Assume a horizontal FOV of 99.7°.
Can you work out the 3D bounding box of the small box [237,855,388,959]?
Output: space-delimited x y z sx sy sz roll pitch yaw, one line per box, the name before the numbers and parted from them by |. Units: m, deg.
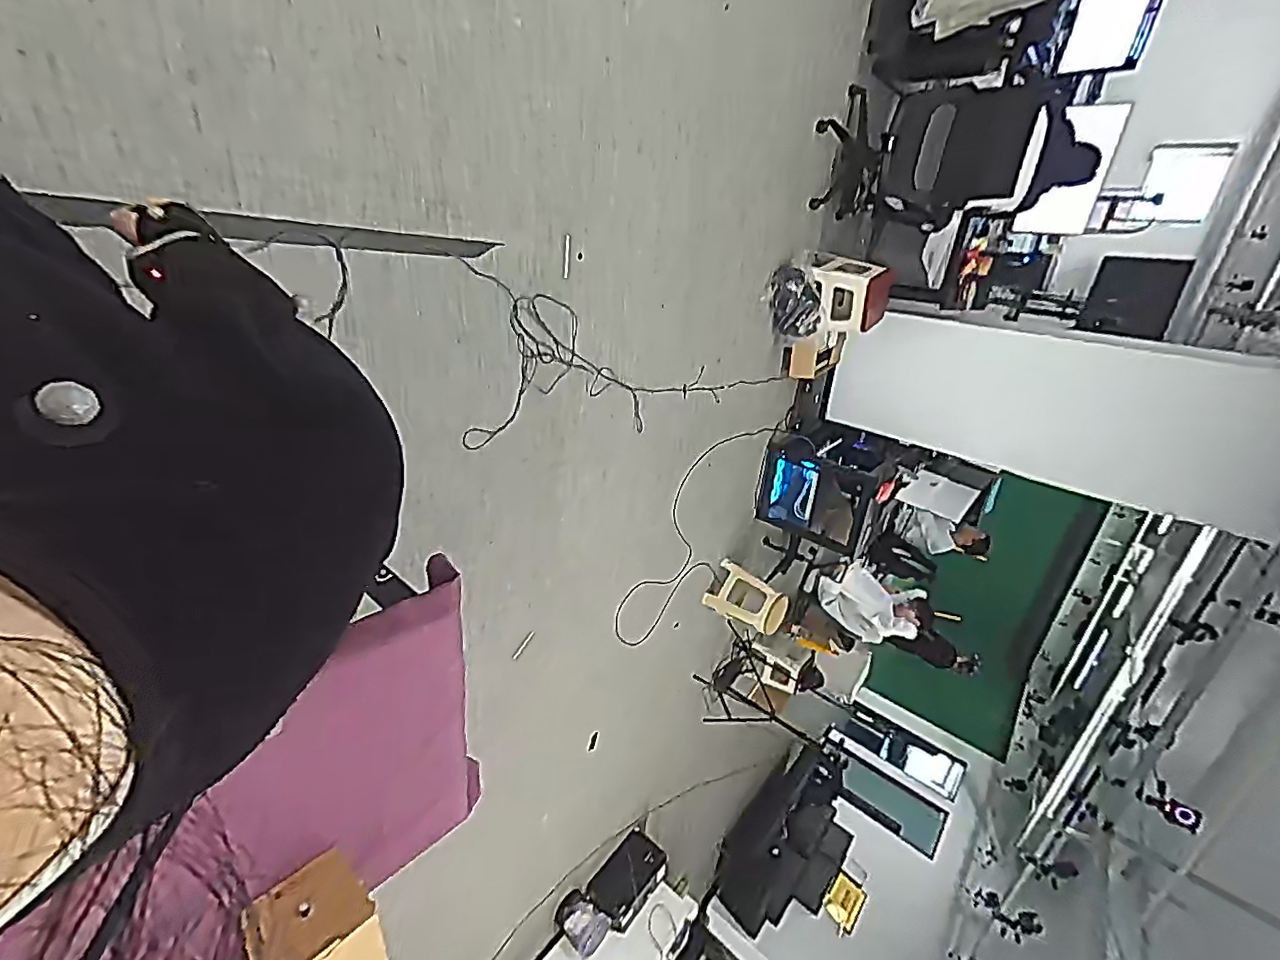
small box | -0.561 0.799 0.932 0.168 0.176 0.179 -21 122 -45
